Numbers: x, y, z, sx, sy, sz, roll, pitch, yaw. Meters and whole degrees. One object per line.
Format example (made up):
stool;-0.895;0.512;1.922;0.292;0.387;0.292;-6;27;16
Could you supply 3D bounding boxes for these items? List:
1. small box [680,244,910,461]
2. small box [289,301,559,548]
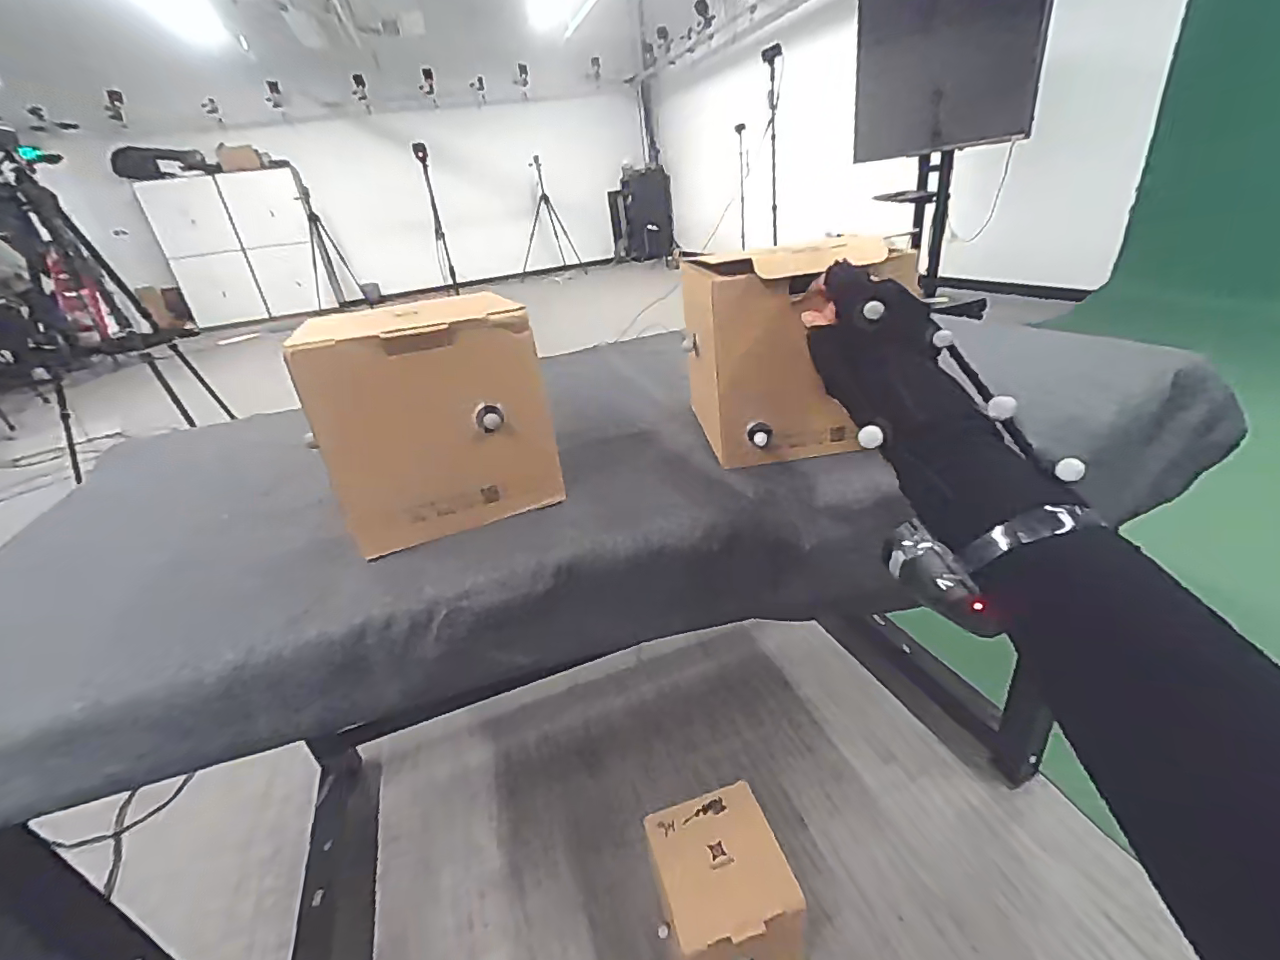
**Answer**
small box;0.138;-0.125;0.530;0.168;0.176;0.179;-8;26;0
small box;-0.181;-0.055;0.484;0.168;0.176;0.179;-16;25;-19
